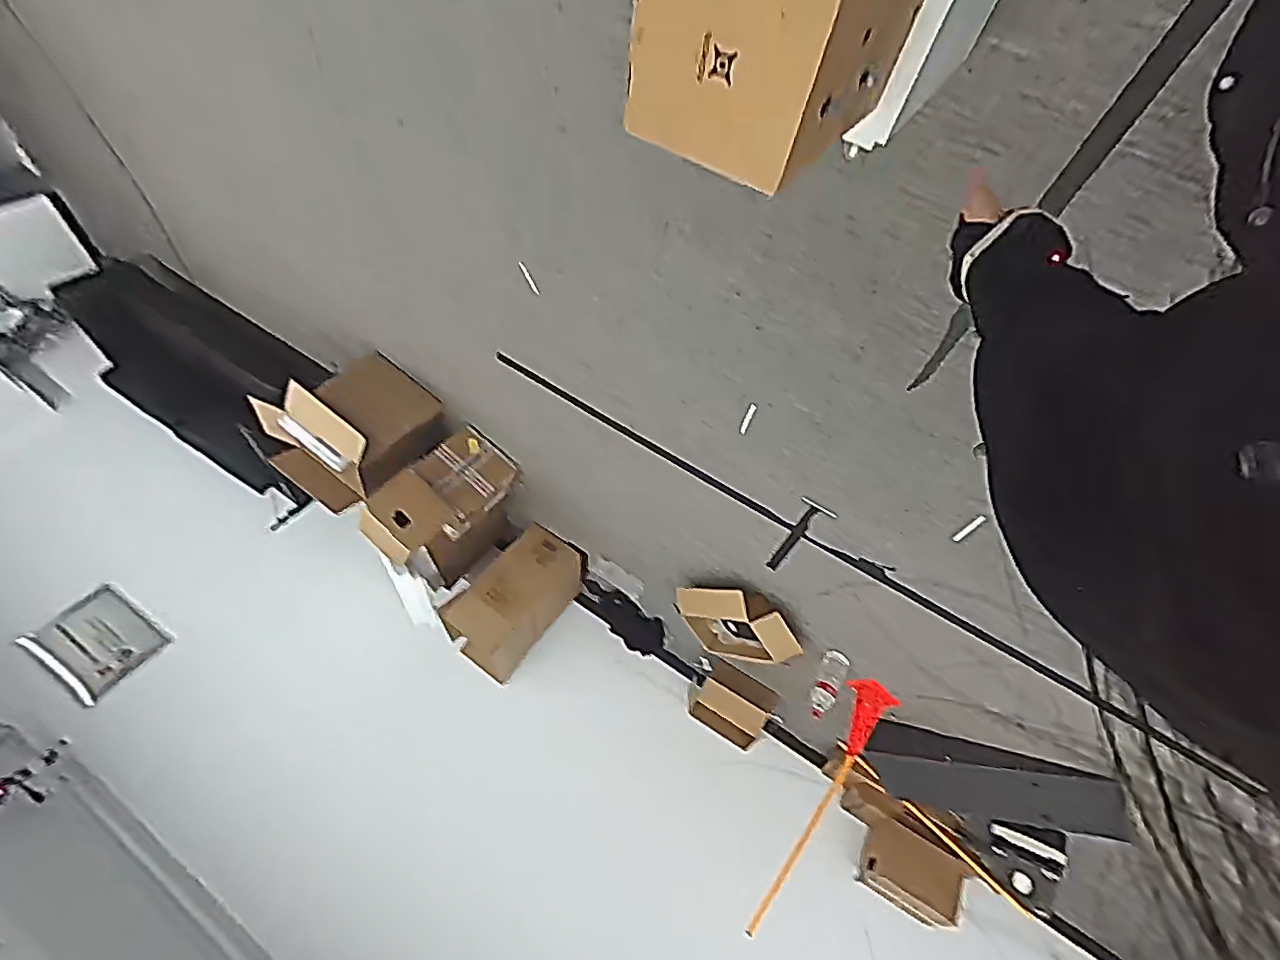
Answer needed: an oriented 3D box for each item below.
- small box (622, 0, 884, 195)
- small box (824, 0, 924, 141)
[{"bbox_3d":[0.106,-0.406,0.503,0.179,0.176,0.168,31,146,14],"label":"small box"},{"bbox_3d":[0.193,-0.511,0.594,0.179,0.176,0.168,33,146,13],"label":"small box"}]
